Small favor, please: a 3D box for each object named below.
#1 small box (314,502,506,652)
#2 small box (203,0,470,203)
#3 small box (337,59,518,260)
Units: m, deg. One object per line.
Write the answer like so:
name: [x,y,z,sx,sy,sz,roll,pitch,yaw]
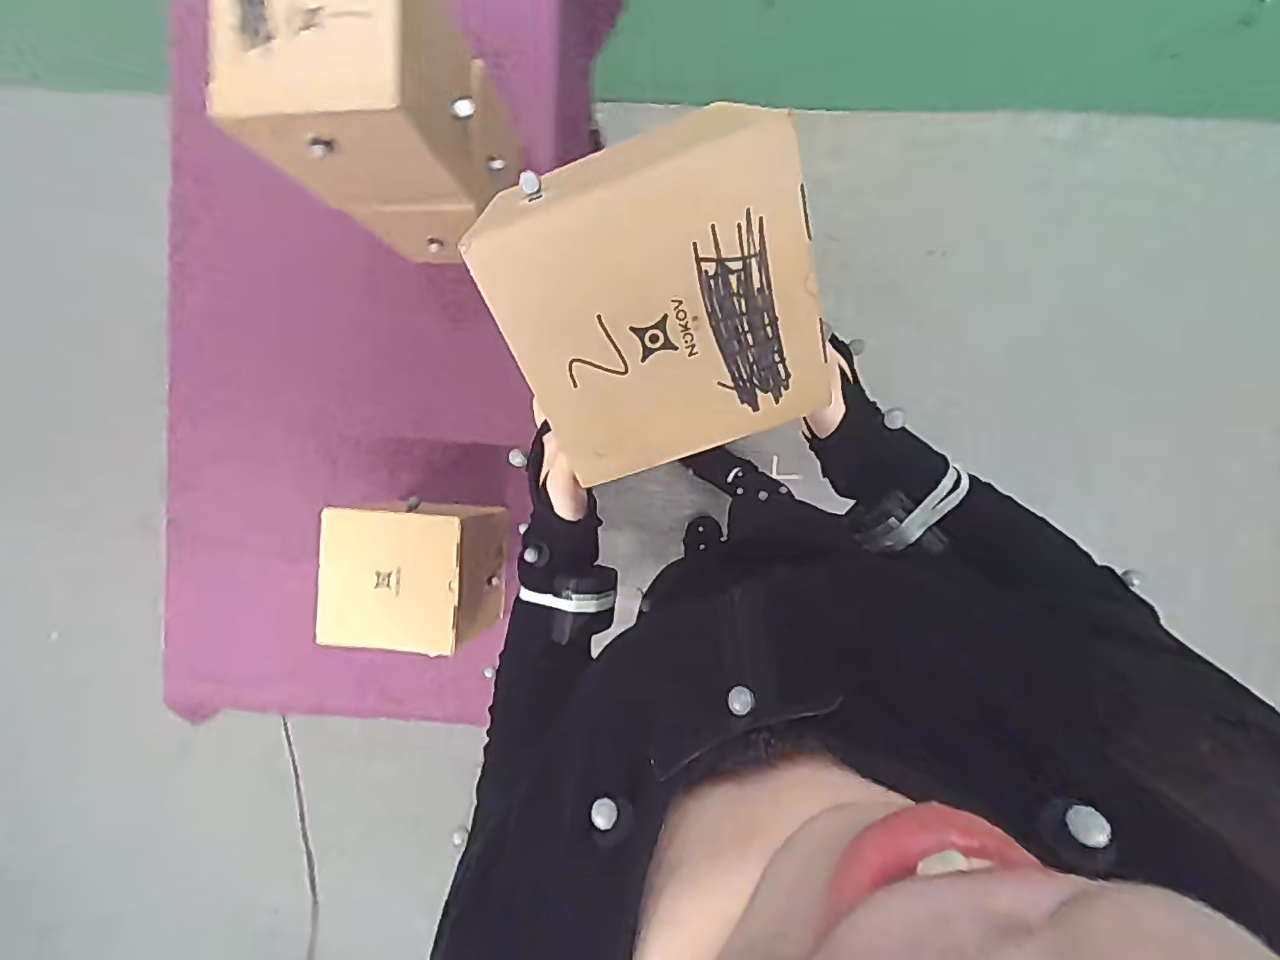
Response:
small box: [-0.295,0.117,0.721,0.179,0.176,0.168,3,91,5]
small box: [-0.291,-0.402,0.548,0.179,0.176,0.168,1,91,5]
small box: [-0.266,-0.405,0.711,0.168,0.176,0.179,3,91,5]
